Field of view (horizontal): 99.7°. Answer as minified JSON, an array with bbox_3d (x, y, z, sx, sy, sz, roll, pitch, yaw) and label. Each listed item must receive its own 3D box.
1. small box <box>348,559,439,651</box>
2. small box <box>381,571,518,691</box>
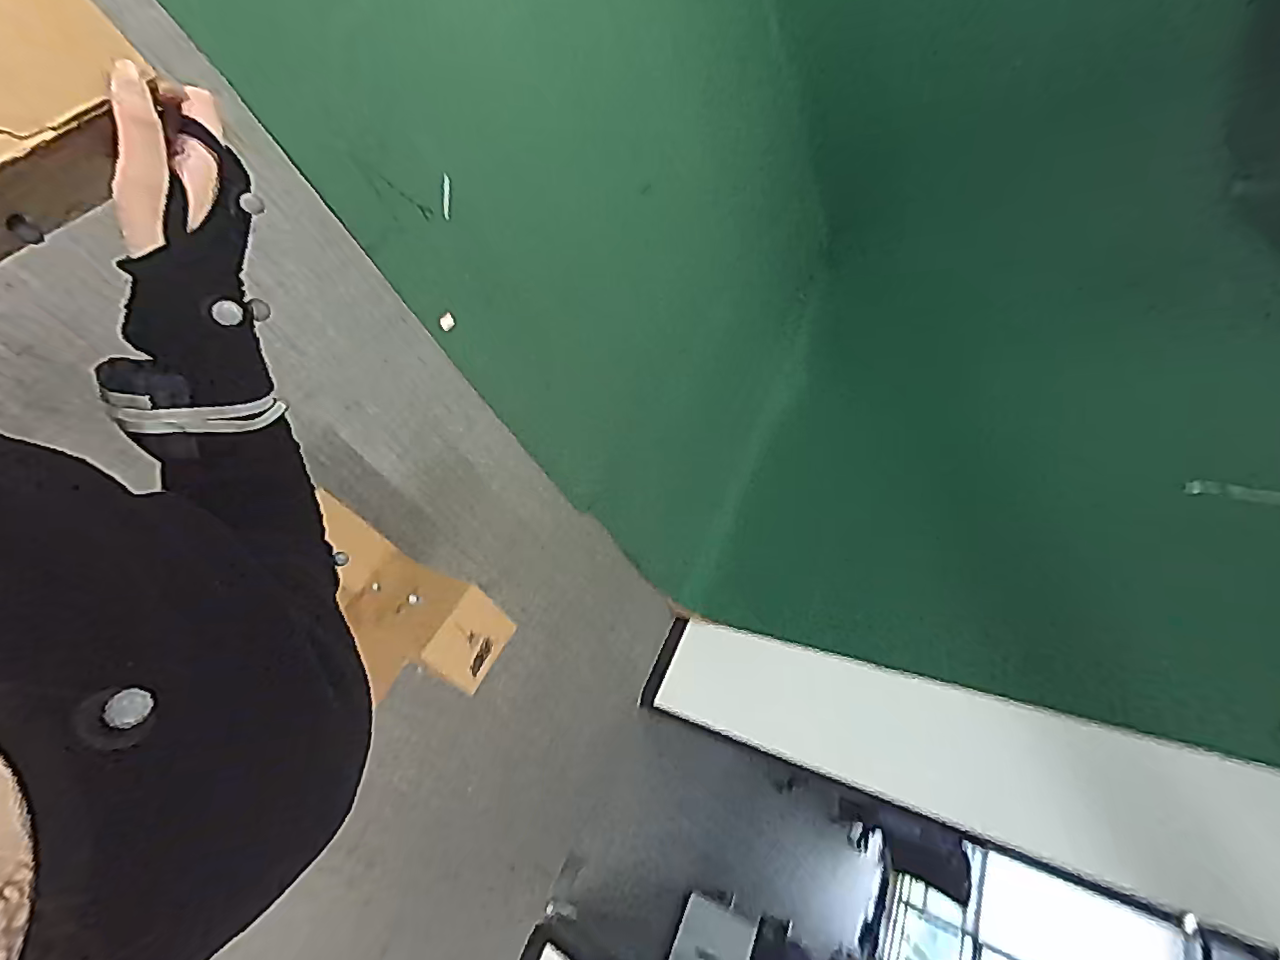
[{"bbox_3d":[-0.525,0.301,1.253,0.168,0.176,0.179,-61,139,-30],"label":"small box"},{"bbox_3d":[-0.400,0.312,1.144,0.168,0.176,0.179,-59,138,-31],"label":"small box"}]
